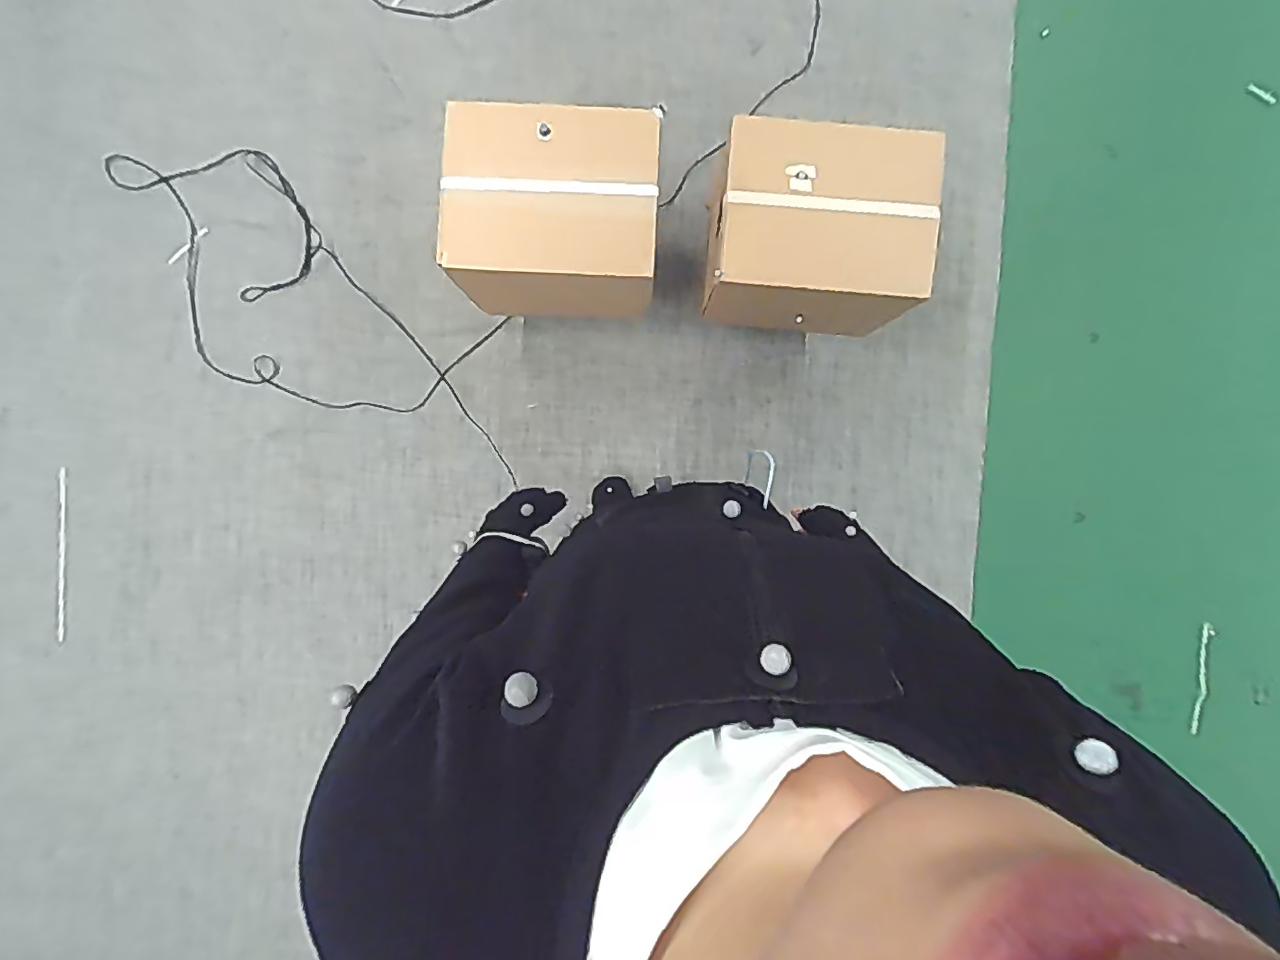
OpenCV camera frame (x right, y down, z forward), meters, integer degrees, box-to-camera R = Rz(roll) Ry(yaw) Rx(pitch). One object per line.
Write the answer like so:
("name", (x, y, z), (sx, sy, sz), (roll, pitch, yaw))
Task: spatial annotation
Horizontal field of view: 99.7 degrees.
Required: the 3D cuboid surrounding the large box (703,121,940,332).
("large box", (0.365, -0.521, 1.178), (0.408, 0.320, 0.320), (5, 91, 0))
